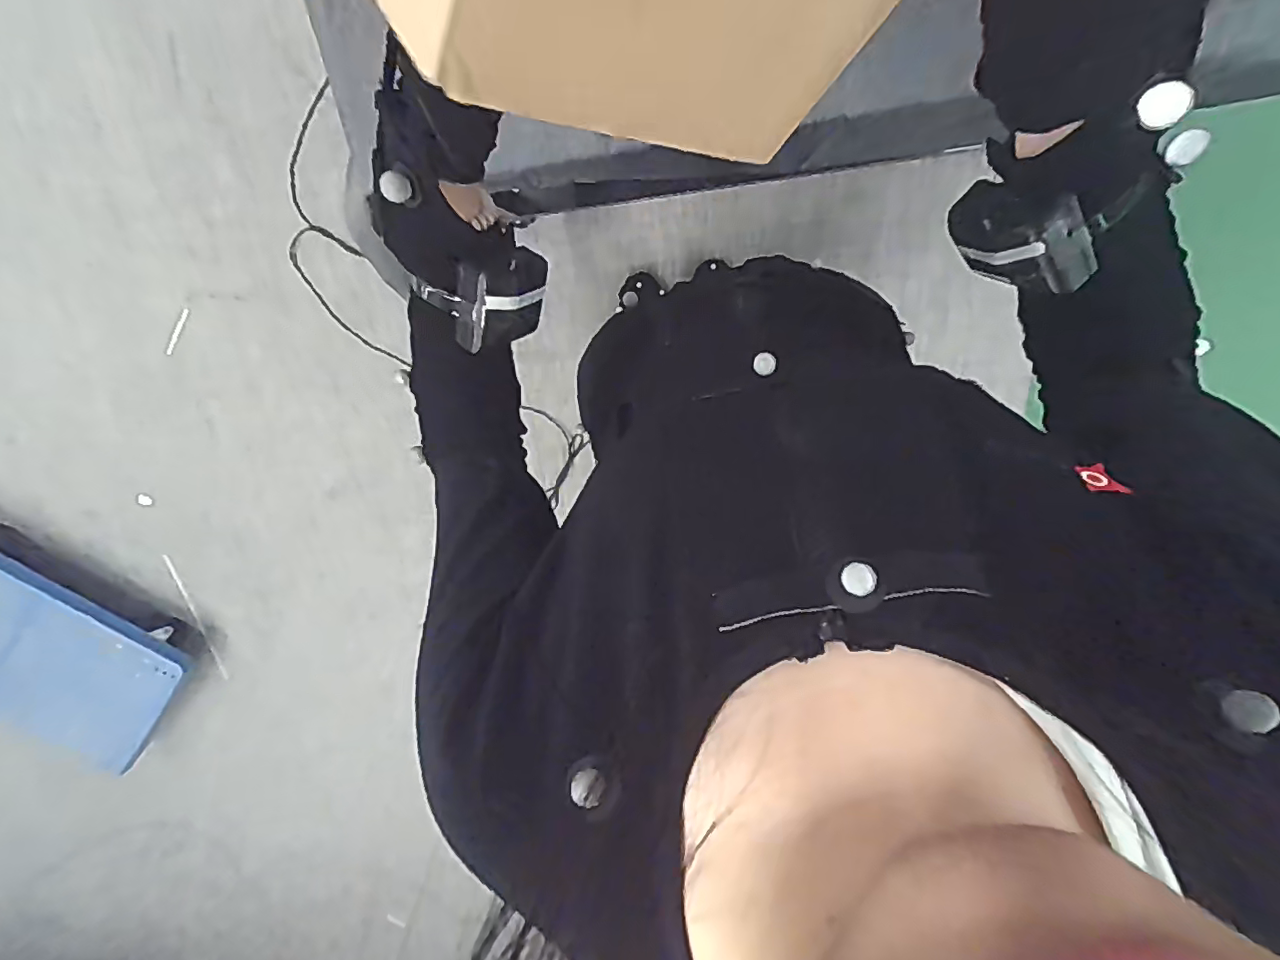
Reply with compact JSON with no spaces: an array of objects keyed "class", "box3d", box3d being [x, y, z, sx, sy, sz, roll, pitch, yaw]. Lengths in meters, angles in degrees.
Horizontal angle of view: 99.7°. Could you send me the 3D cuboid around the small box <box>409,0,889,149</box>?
[{"class":"small box","box3d":[0.008,-0.239,0.156,0.168,0.179,0.176,-41,78,45]}]
